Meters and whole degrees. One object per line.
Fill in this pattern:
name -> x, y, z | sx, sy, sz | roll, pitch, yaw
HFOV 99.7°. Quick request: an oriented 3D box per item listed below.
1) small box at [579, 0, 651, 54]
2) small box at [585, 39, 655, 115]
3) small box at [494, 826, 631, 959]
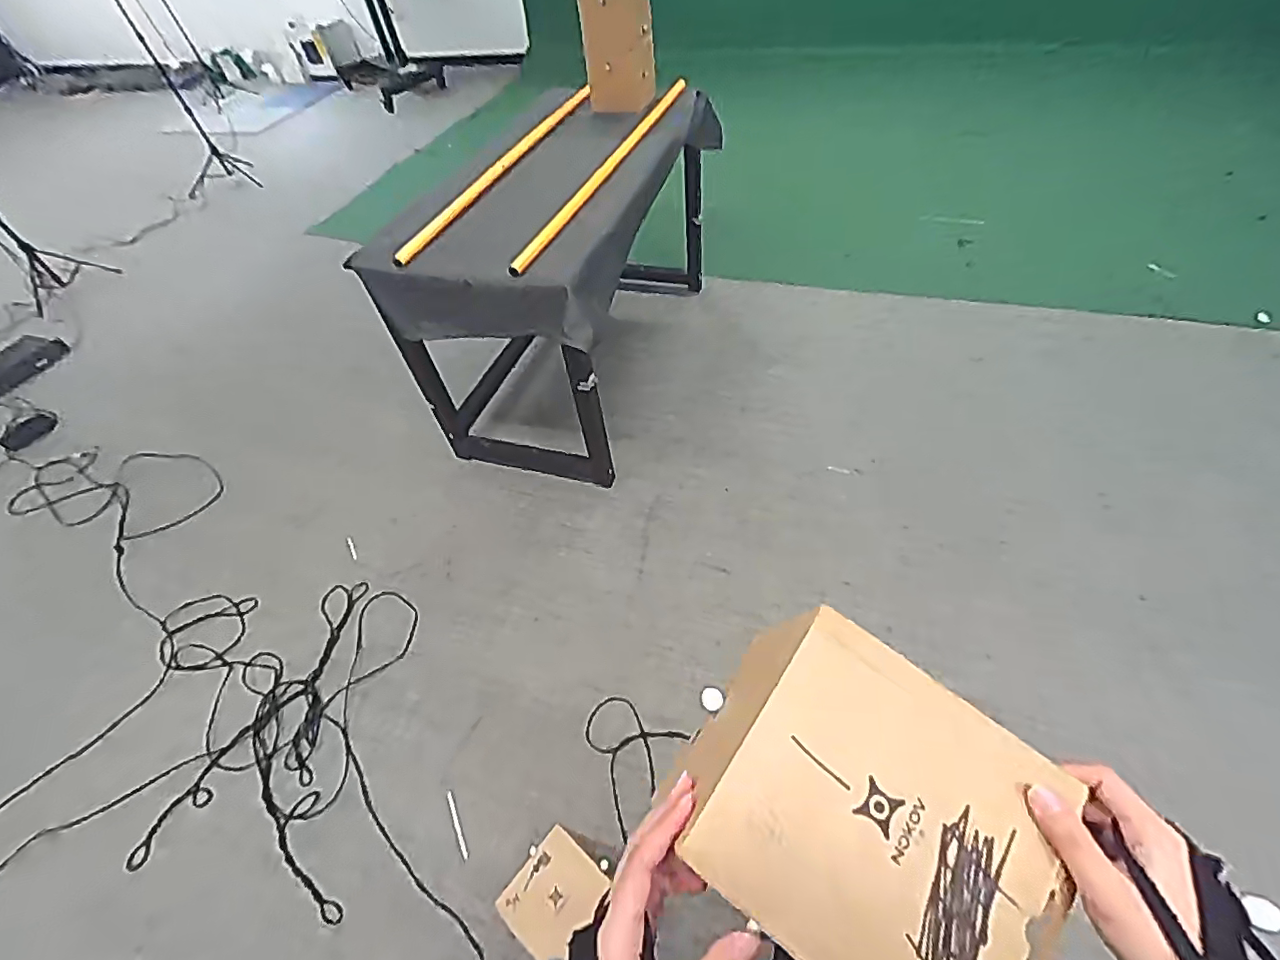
small box -> -0.076, -1.432, 1.660 | 0.179, 0.176, 0.168 | 11, 55, 15
small box -> -0.059, -1.326, 1.783 | 0.179, 0.176, 0.168 | 12, 54, 17
small box -> -0.134, 0.788, 1.008 | 0.179, 0.176, 0.168 | 31, 61, 28
